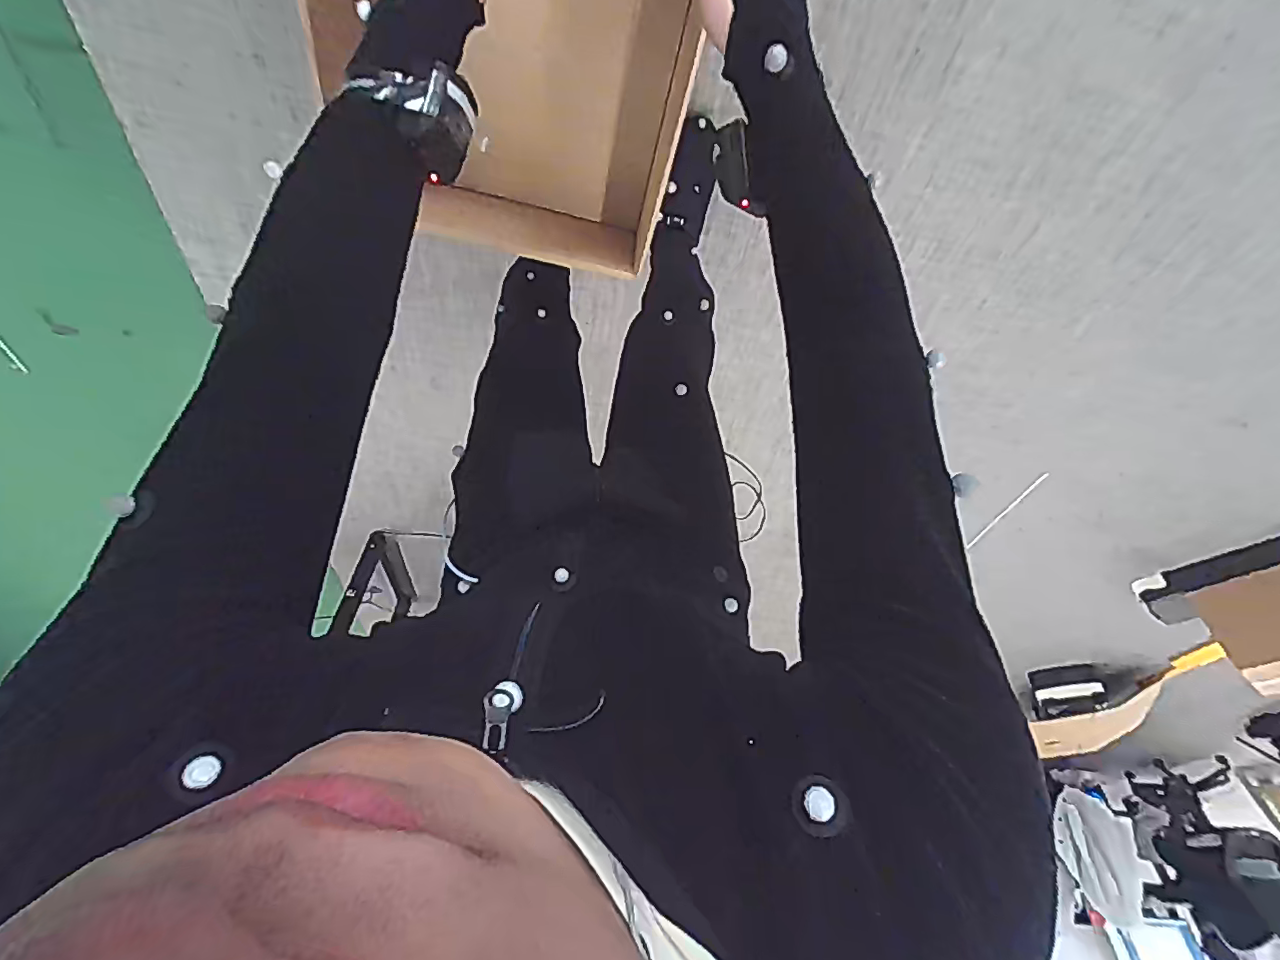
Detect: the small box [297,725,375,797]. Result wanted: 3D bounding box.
[{"bbox_3d":[-0.946,0.878,1.688,0.168,0.176,0.179,19,138,-21],"label":"small box"}]
